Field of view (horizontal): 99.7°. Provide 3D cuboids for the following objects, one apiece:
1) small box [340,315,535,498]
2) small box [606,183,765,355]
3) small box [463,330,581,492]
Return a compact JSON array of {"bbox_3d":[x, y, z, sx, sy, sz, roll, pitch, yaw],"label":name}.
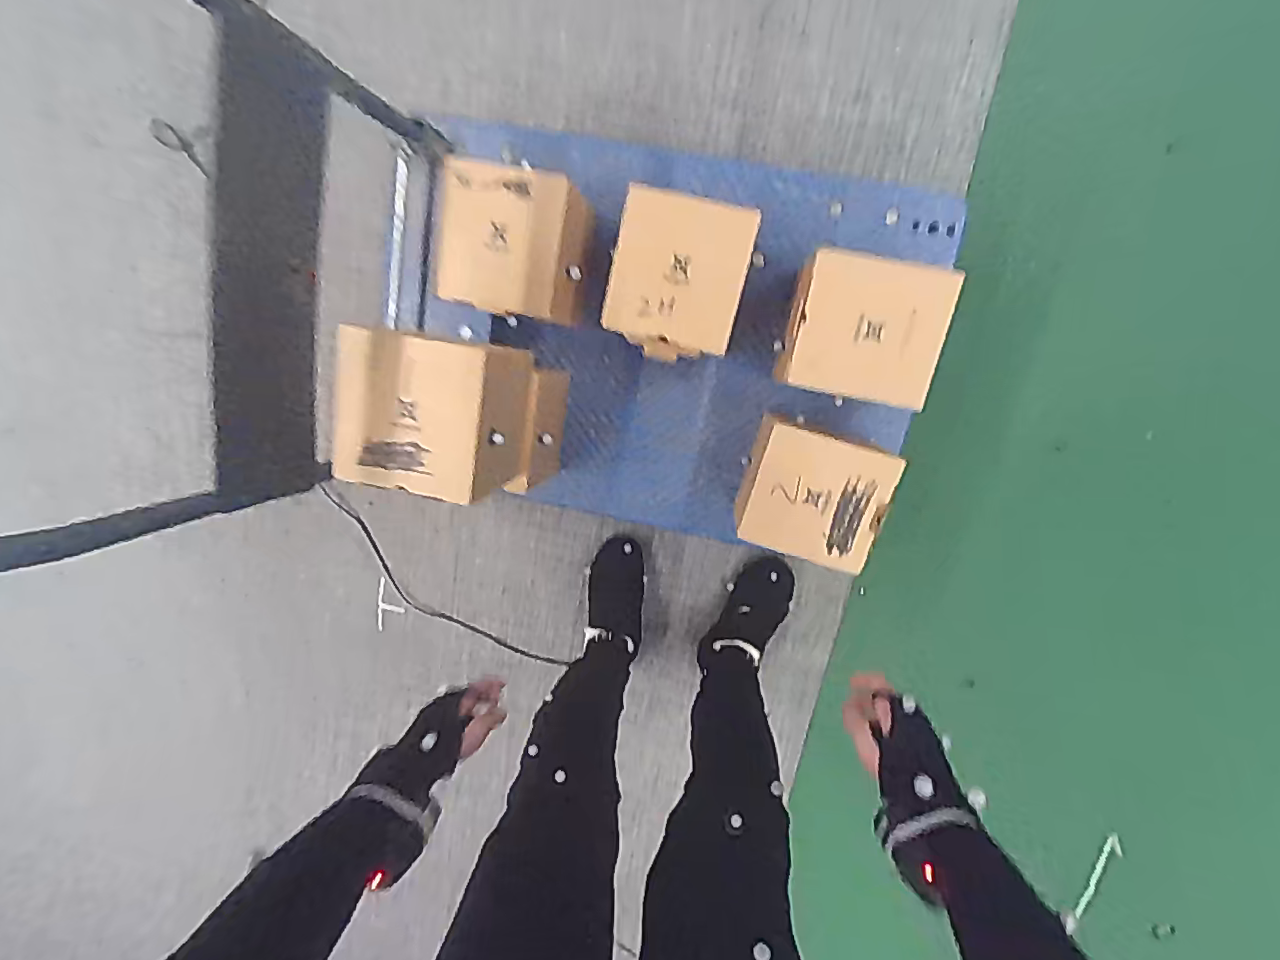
[{"bbox_3d":[-0.240,-0.095,0.673,0.168,0.176,0.179,12,103,4],"label":"small box"},{"bbox_3d":[0.064,-0.282,0.760,0.168,0.176,0.179,16,104,5],"label":"small box"},{"bbox_3d":[-0.221,-0.109,0.846,0.179,0.176,0.168,42,106,-2],"label":"small box"}]
